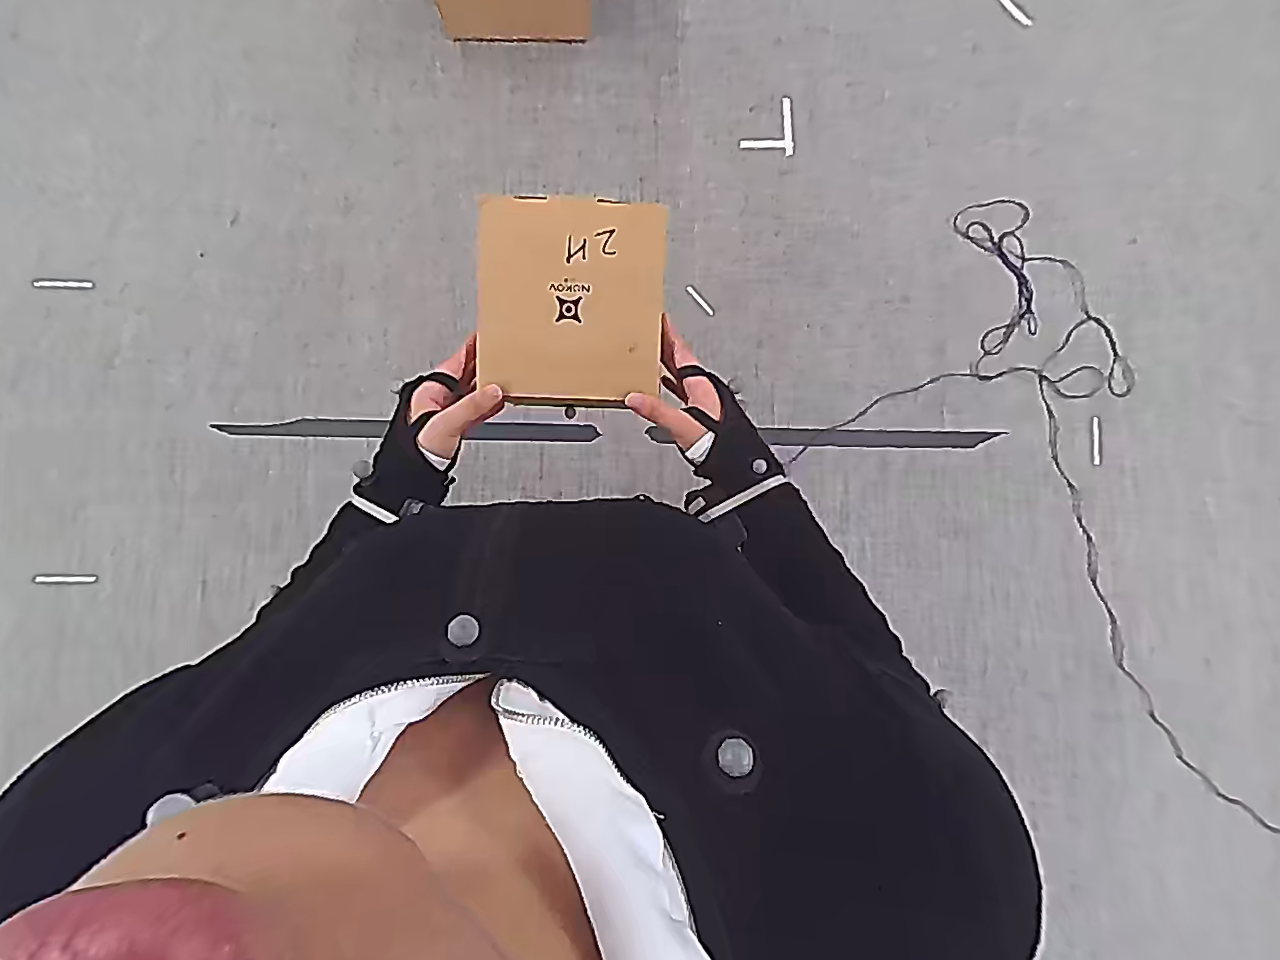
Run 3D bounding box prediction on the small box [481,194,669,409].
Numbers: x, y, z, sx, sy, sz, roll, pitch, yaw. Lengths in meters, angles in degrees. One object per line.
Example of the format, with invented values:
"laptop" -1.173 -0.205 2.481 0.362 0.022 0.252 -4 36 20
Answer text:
"small box" -0.062 -0.169 0.566 0.168 0.176 0.179 2 93 -3
